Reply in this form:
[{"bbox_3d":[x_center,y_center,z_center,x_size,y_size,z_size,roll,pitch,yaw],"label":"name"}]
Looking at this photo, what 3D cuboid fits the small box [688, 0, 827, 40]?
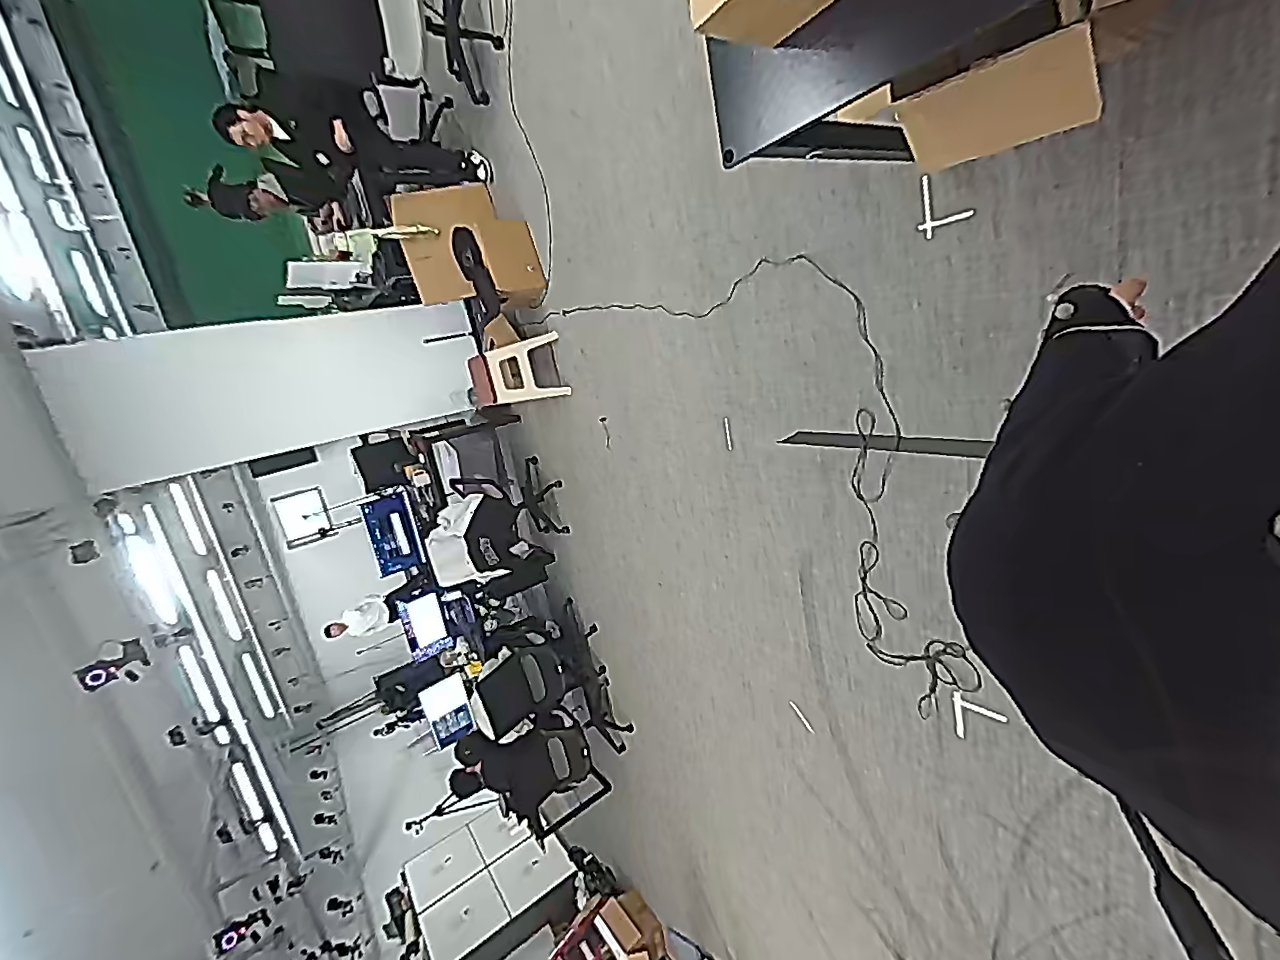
[{"bbox_3d":[0.172,-0.727,0.713,0.179,0.176,0.168,8,113,55],"label":"small box"}]
